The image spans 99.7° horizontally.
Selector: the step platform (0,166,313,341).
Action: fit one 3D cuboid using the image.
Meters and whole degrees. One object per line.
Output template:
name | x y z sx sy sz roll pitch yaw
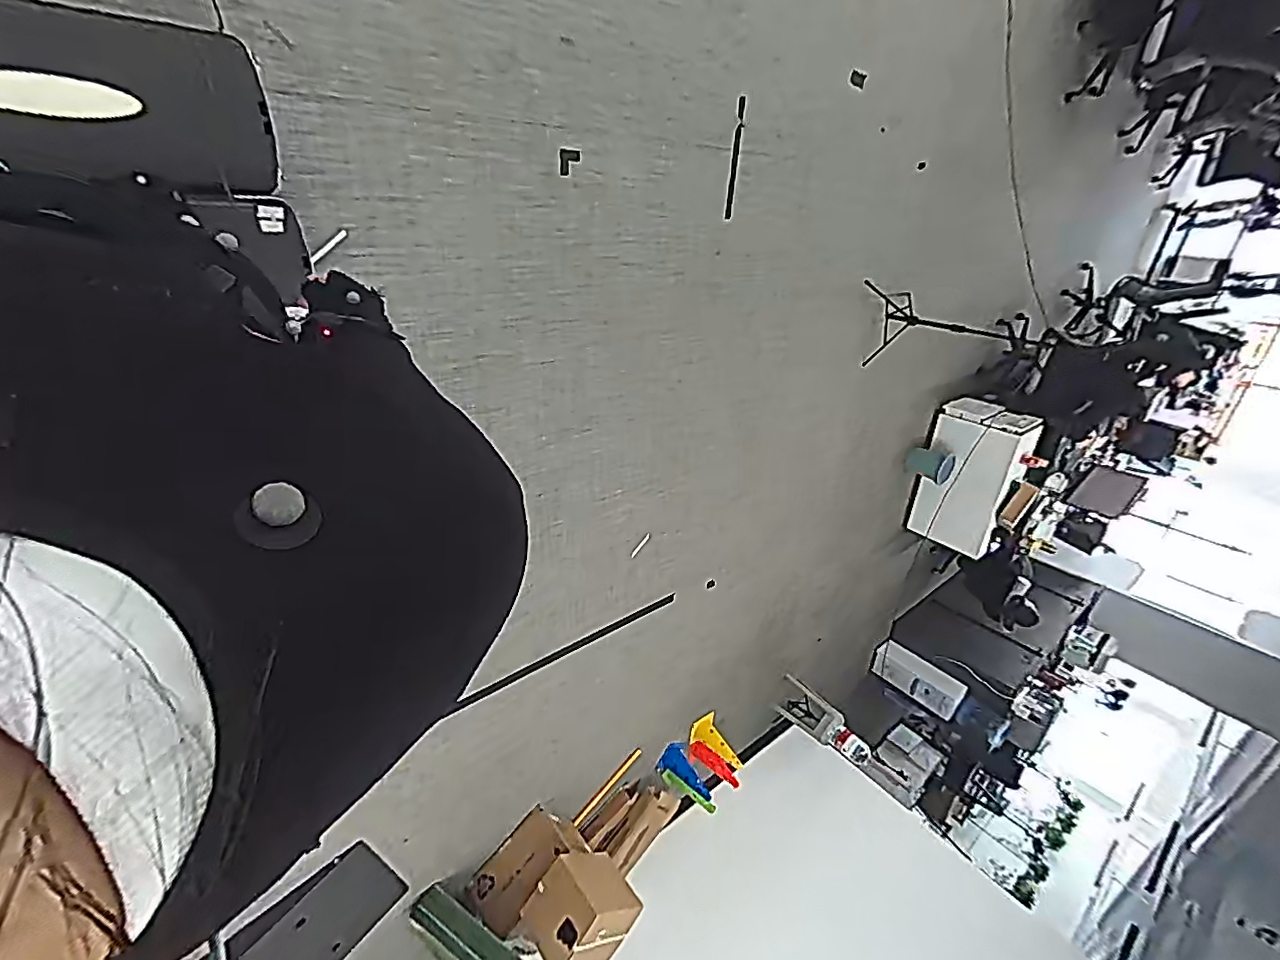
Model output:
step platform | -1.041 -0.446 1.059 0.684 0.204 0.286 -18 122 -33
